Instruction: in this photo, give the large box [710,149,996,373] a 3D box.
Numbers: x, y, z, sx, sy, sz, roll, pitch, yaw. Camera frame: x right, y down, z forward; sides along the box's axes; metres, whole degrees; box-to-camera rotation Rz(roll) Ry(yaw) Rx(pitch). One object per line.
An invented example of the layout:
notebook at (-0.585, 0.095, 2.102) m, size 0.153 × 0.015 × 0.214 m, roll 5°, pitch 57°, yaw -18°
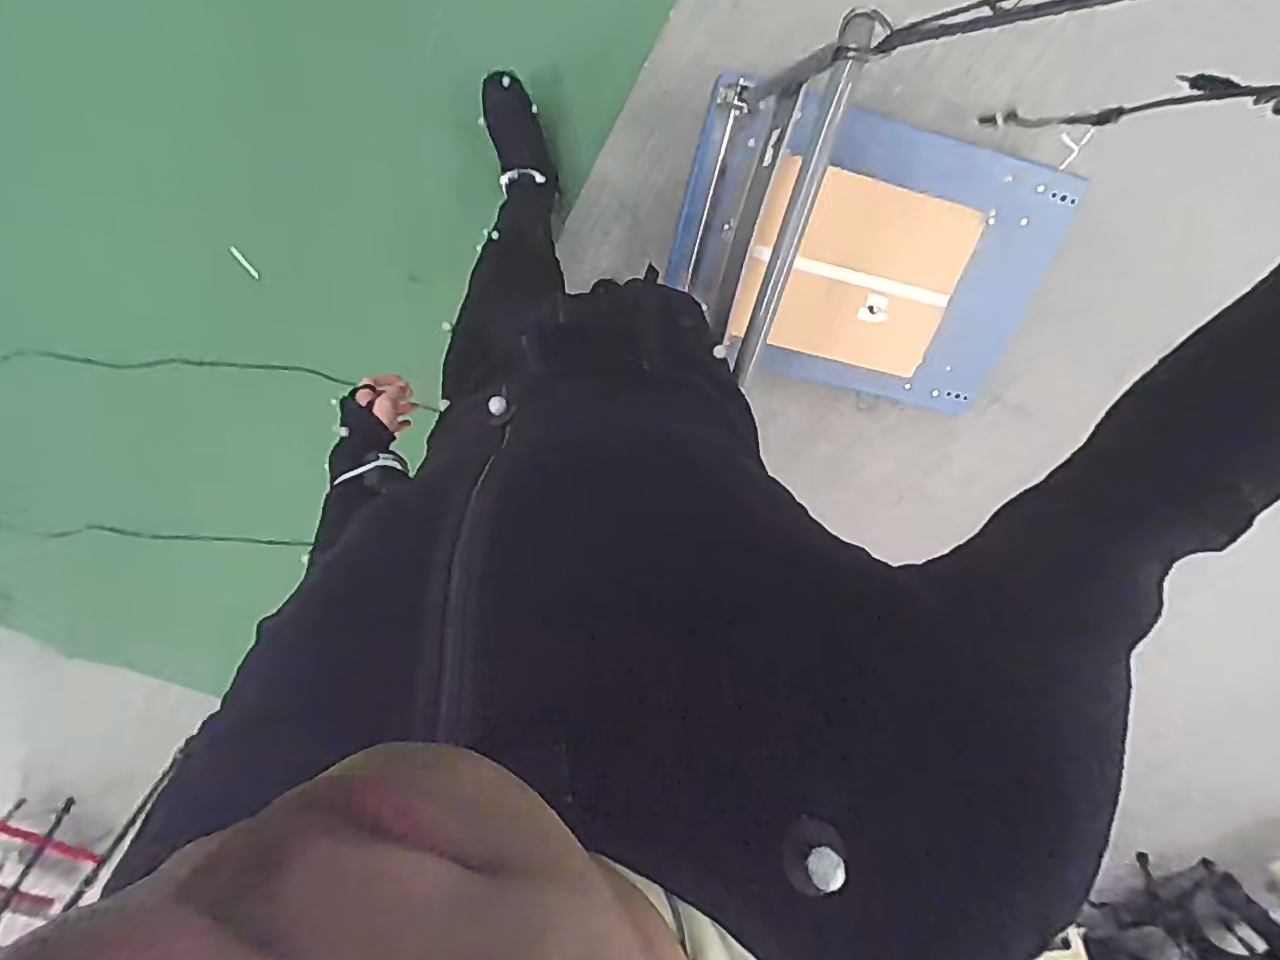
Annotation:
large box at (0.395, -0.451, 1.121) m, size 0.408 × 0.320 × 0.320 m, roll 12°, pitch 118°, yaw -8°
